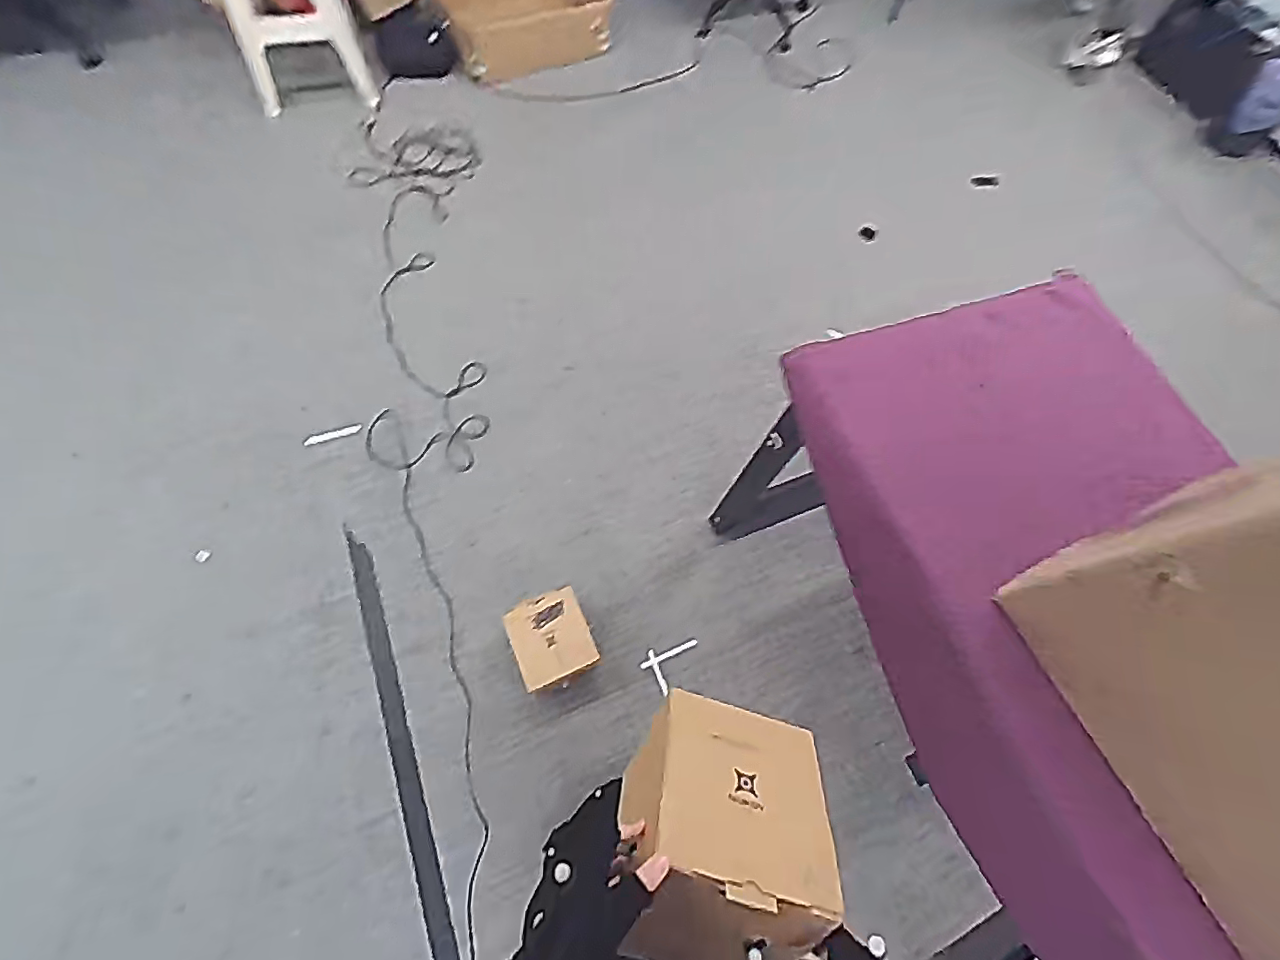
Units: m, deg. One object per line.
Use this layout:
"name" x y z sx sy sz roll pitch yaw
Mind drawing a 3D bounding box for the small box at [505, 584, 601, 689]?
"small box" -0.200 0.367 1.250 0.168 0.176 0.179 -21 72 -15

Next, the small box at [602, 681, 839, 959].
"small box" 0.069 0.345 0.541 0.168 0.176 0.179 19 27 -4
